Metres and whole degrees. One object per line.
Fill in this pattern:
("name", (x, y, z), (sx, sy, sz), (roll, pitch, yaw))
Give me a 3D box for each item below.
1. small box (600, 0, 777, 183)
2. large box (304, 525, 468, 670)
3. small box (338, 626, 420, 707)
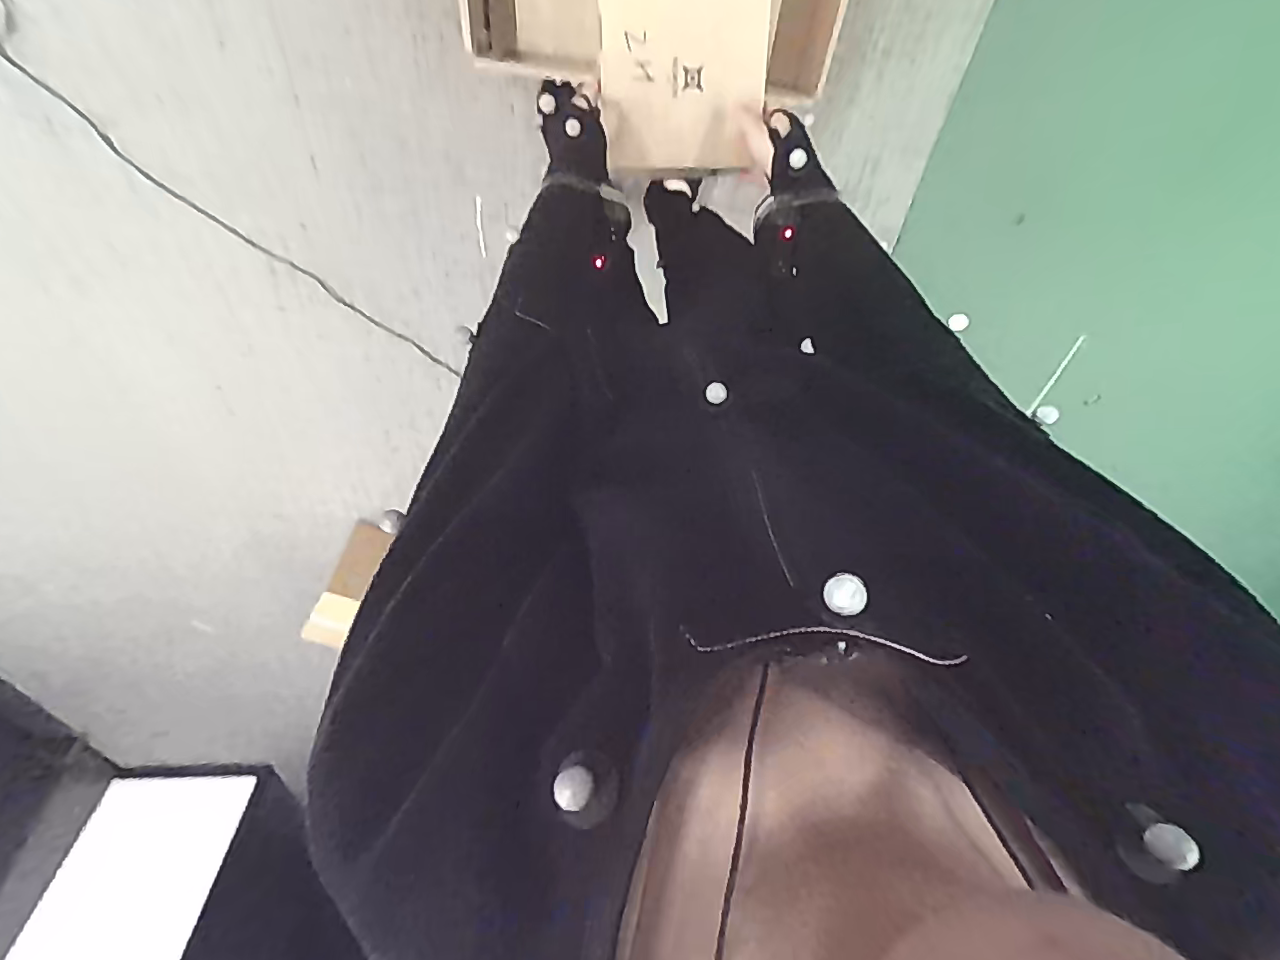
("small box", (0.044, -0.447, 0.629), (0.179, 0.176, 0.168), (-2, 116, -3))
("large box", (-0.885, 0.423, 1.926), (0.408, 0.320, 0.320), (28, 125, -23))
("small box", (-0.845, 0.610, 1.768), (0.168, 0.176, 0.179), (31, 124, -27))
